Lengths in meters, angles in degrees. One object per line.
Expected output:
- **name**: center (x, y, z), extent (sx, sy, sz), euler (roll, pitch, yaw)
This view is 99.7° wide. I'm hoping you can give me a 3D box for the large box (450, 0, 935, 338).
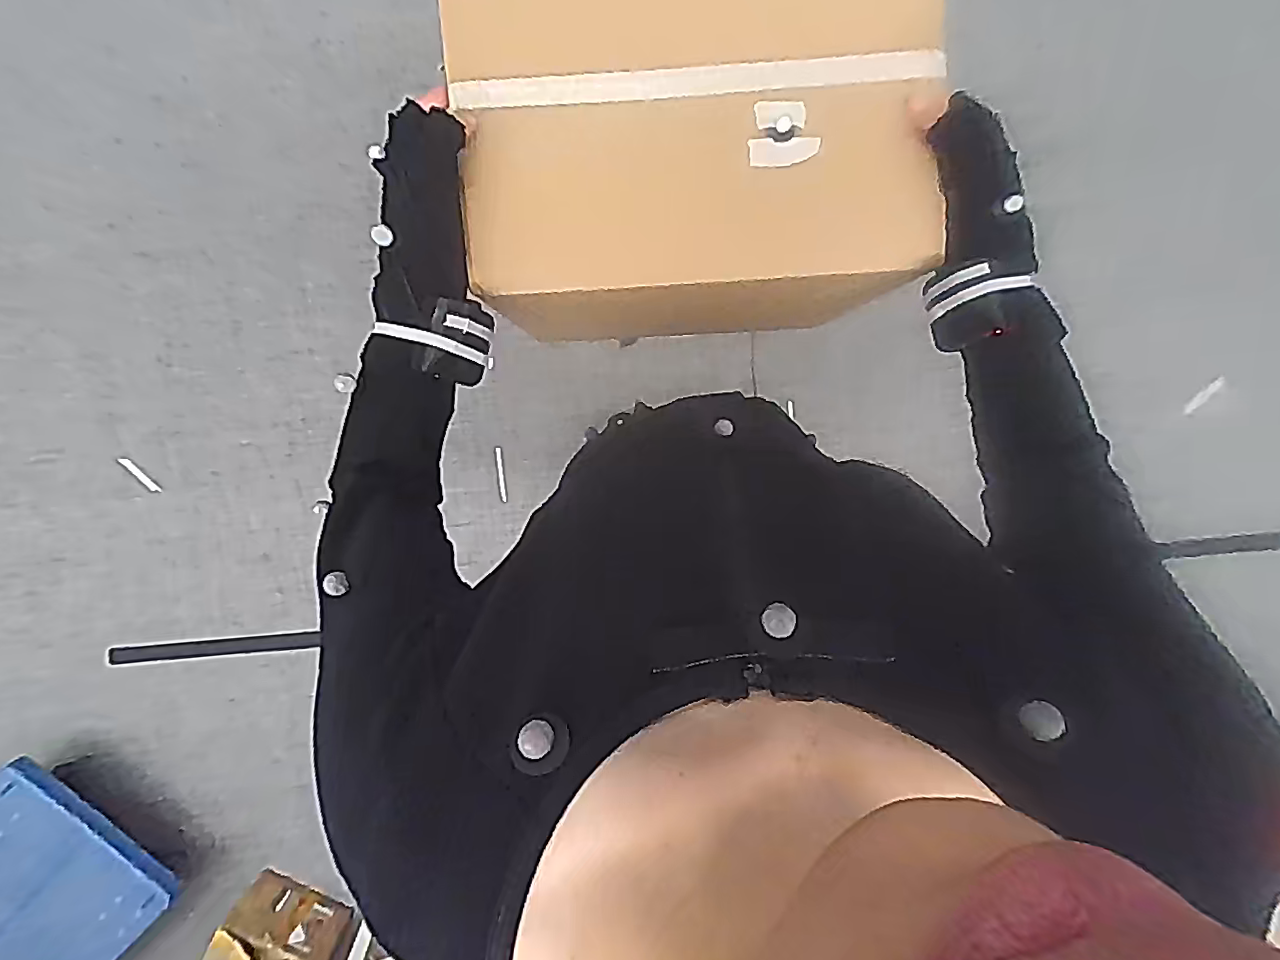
- **large box**: center (0.044, -0.348, 0.599), extent (0.408, 0.320, 0.320), euler (-3, 97, 0)
